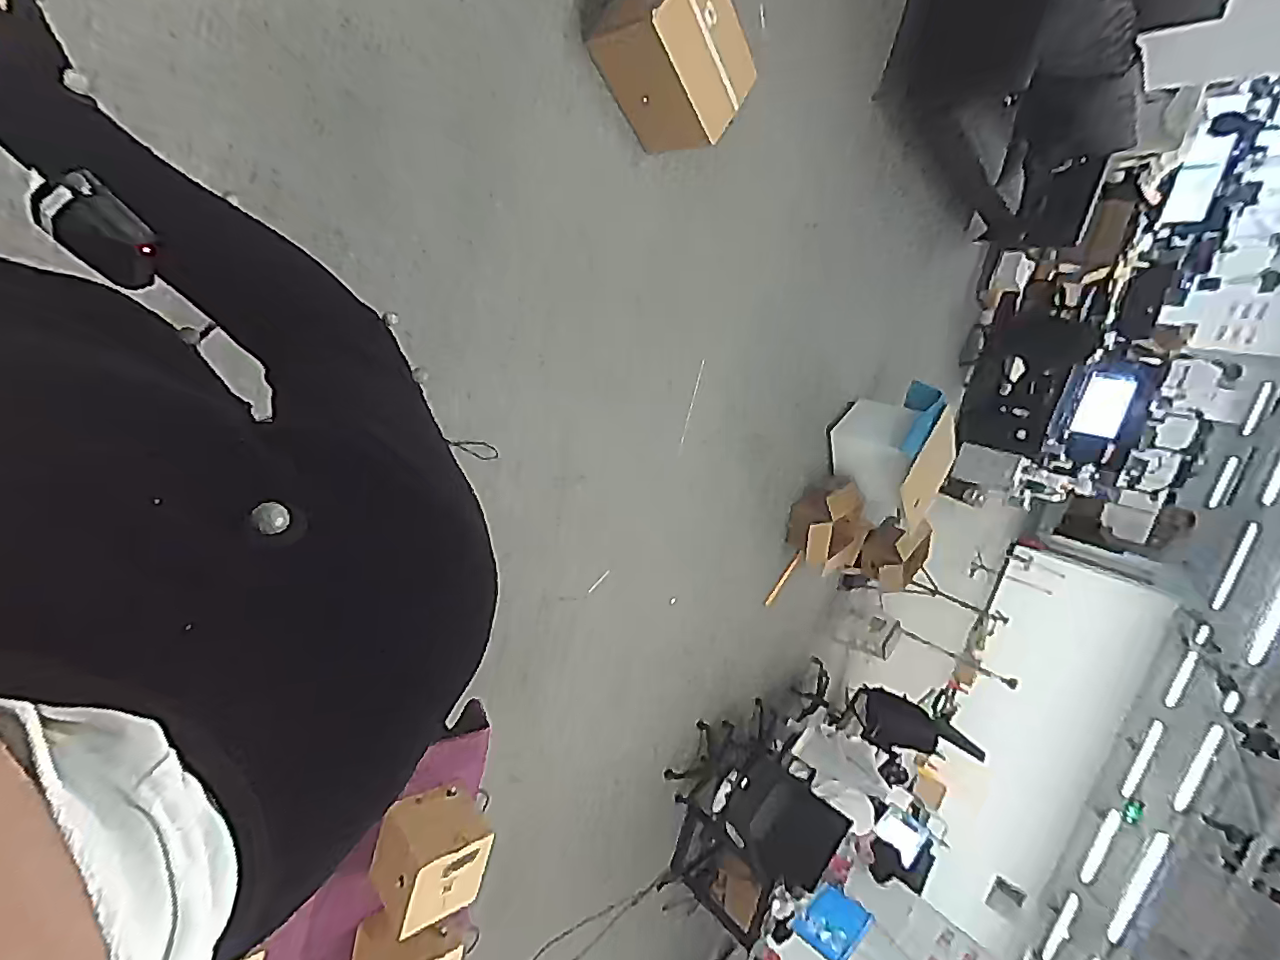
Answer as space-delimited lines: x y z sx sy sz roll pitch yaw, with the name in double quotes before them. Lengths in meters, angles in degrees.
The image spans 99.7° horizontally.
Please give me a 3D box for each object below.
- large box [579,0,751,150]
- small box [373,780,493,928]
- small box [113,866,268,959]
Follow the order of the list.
"large box" 0.087 -1.350 1.725 0.408 0.320 0.320 39 79 -48
"small box" -0.445 0.777 1.153 0.168 0.176 0.179 6 105 -48
"small box" -0.722 0.780 0.864 0.168 0.176 0.179 3 107 -48
